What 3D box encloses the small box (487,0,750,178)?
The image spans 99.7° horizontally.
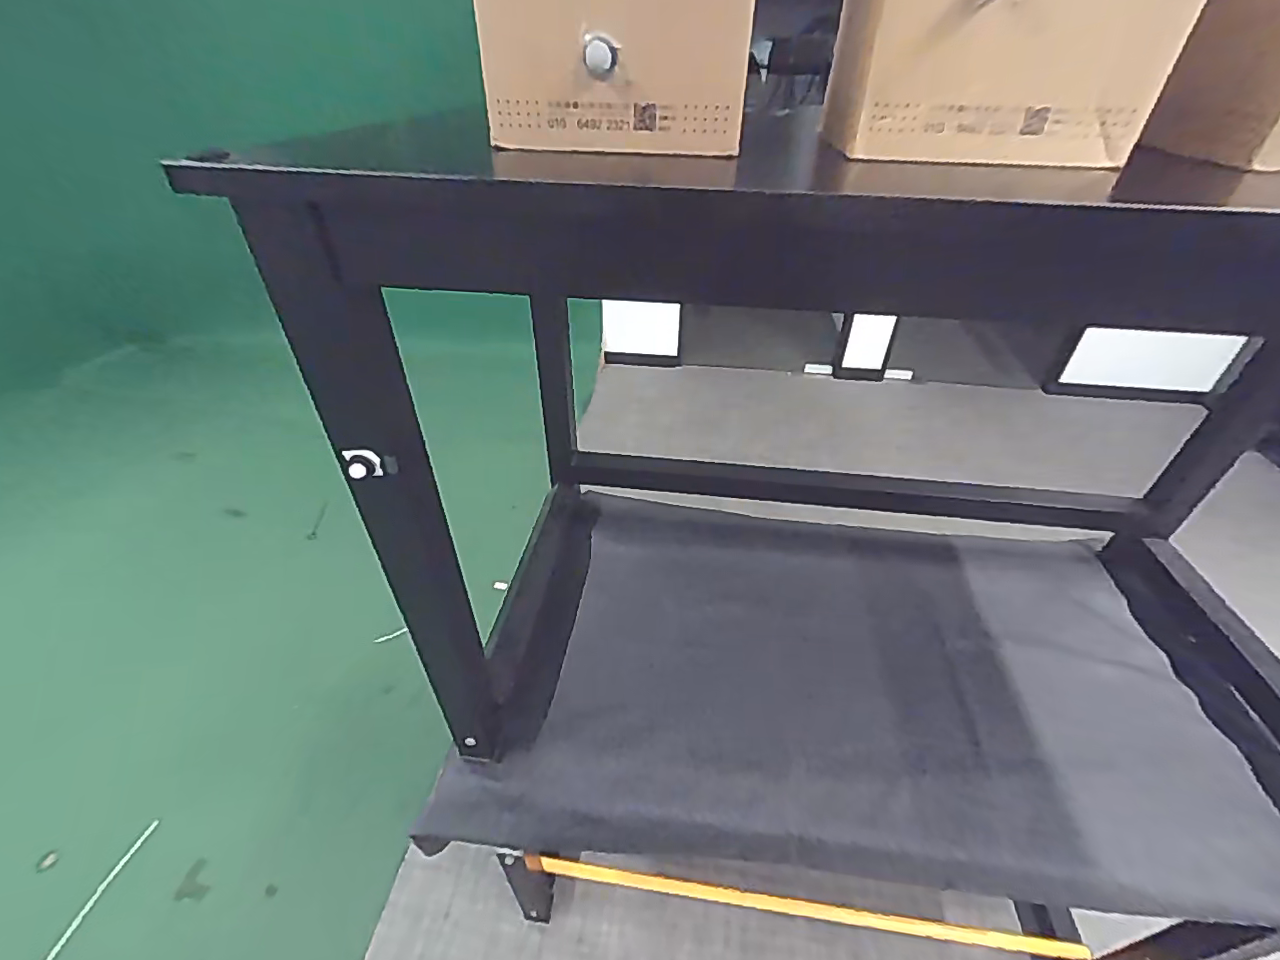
[{"bbox_3d":[-0.008,-0.330,0.388,0.168,0.176,0.179,4,39,4],"label":"small box"}]
